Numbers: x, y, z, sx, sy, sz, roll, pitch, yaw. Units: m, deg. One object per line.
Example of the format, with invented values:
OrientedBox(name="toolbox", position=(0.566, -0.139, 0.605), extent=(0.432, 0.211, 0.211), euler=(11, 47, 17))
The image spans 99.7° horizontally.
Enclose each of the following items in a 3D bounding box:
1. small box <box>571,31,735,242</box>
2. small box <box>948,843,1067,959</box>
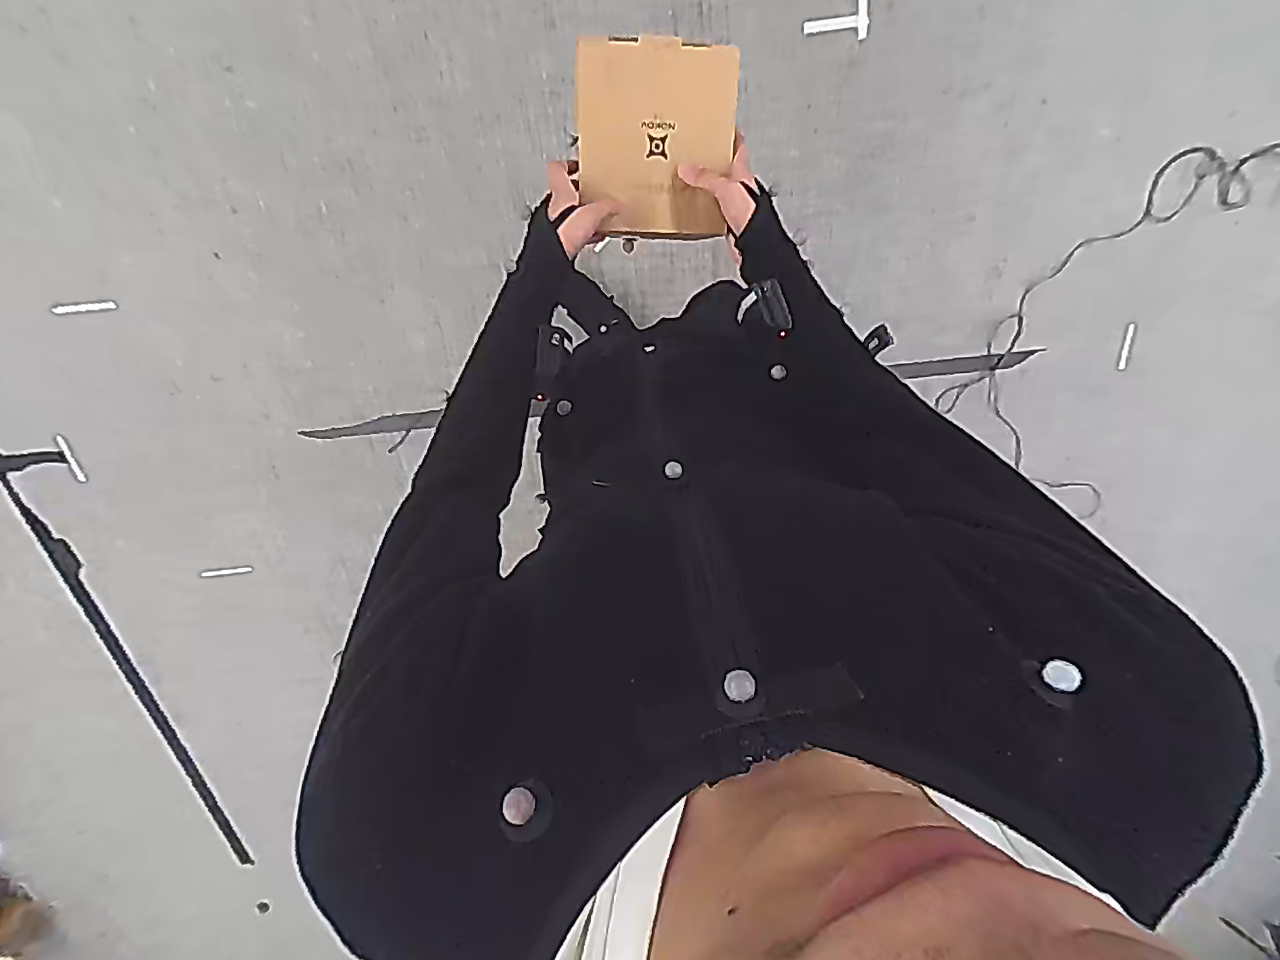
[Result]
OrientedBox(name="small box", position=(0.002, -0.382, 0.636), extent=(0.168, 0.176, 0.179), euler=(-1, 112, -7))
OrientedBox(name="small box", position=(0.887, 1.021, 1.323), extent=(0.168, 0.176, 0.179), euler=(-8, 115, -1))
